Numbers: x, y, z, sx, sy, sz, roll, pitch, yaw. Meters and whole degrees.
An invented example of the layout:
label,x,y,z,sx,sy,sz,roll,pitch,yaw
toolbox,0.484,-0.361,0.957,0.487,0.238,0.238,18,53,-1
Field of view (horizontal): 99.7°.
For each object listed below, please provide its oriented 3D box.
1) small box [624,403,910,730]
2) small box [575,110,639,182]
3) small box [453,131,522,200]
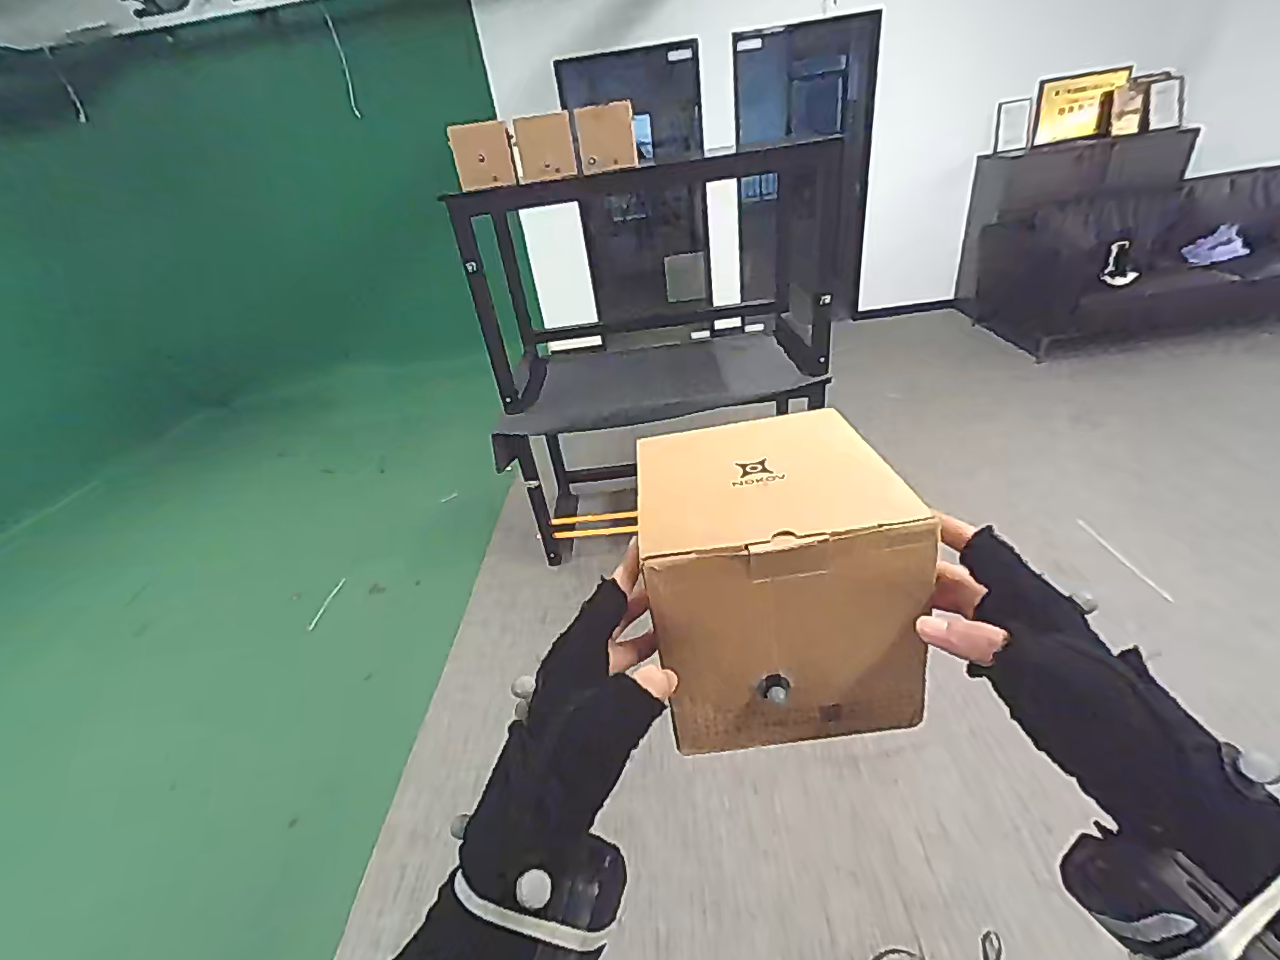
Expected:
label,x,y,z,sx,sy,sz,roll,pitch,yaw
small box,0.084,0.057,0.416,0.168,0.176,0.179,-9,26,4
small box,-0.095,-1.040,1.693,0.168,0.176,0.179,-6,30,6
small box,-0.474,-0.990,1.710,0.168,0.176,0.179,-9,30,-3
